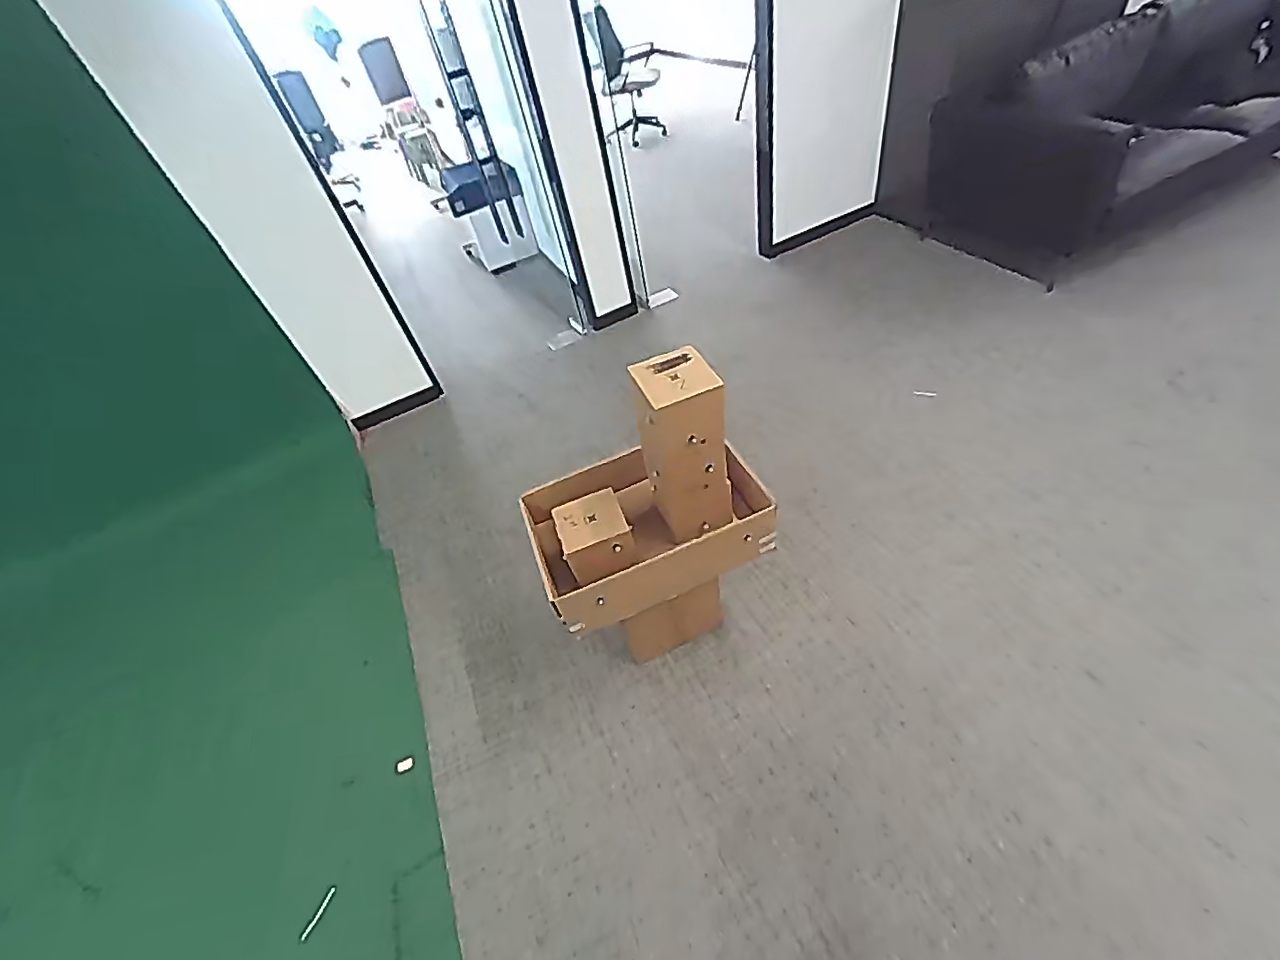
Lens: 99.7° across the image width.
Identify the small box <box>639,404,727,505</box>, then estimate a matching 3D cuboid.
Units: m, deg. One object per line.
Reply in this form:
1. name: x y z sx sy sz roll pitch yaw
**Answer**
1. small box: 0.113 -0.057 1.380 0.168 0.176 0.179 -21 46 -8
